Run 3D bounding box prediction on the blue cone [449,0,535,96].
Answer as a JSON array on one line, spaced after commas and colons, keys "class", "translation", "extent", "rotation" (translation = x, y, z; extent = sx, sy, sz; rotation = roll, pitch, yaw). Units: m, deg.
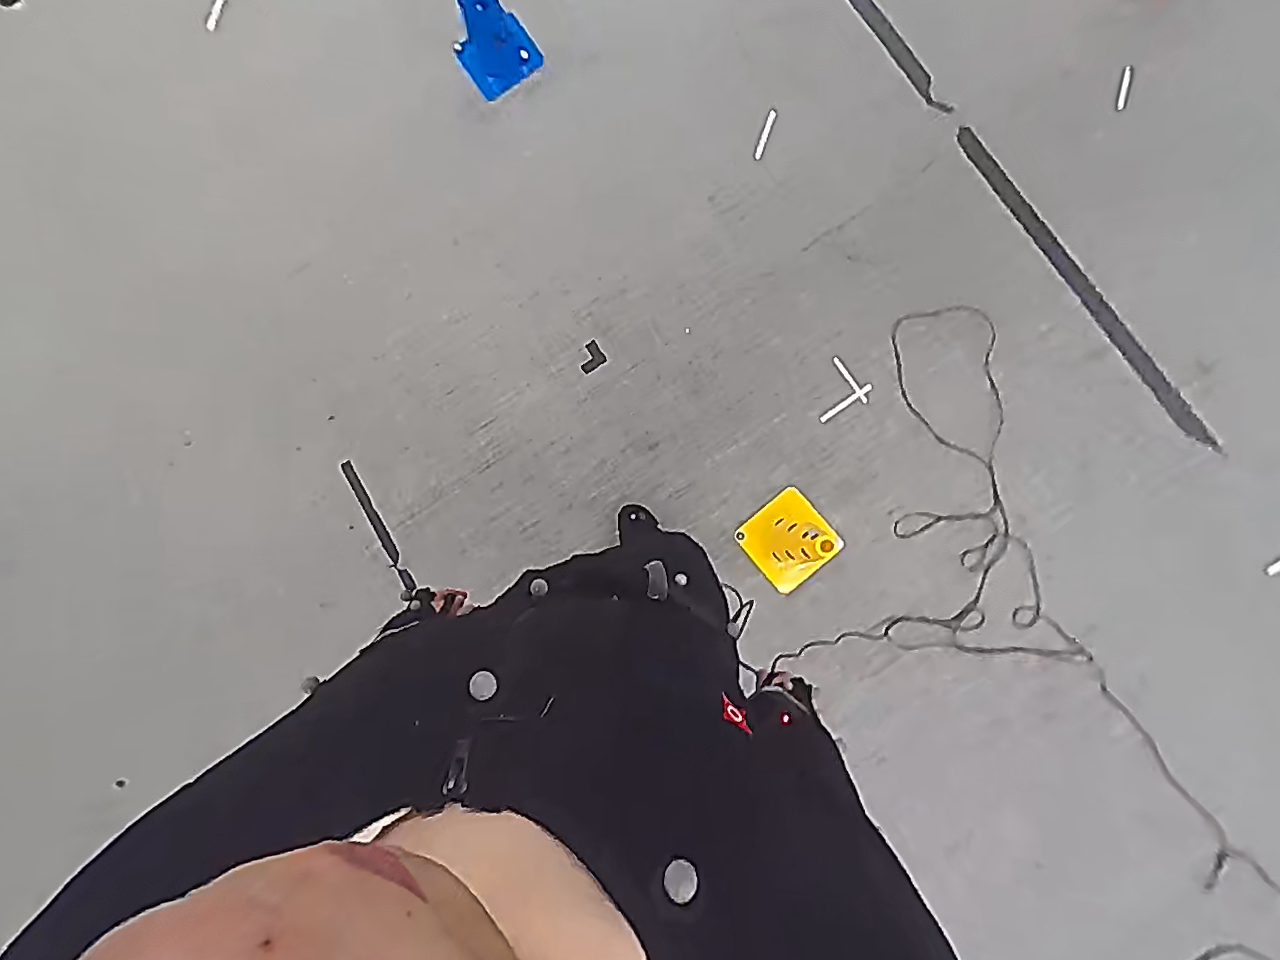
[{"class": "blue cone", "translation": [-0.417, -1.184, 1.329], "extent": [0.192, 0.380, 0.193], "rotation": [-33, 84, 3]}]
